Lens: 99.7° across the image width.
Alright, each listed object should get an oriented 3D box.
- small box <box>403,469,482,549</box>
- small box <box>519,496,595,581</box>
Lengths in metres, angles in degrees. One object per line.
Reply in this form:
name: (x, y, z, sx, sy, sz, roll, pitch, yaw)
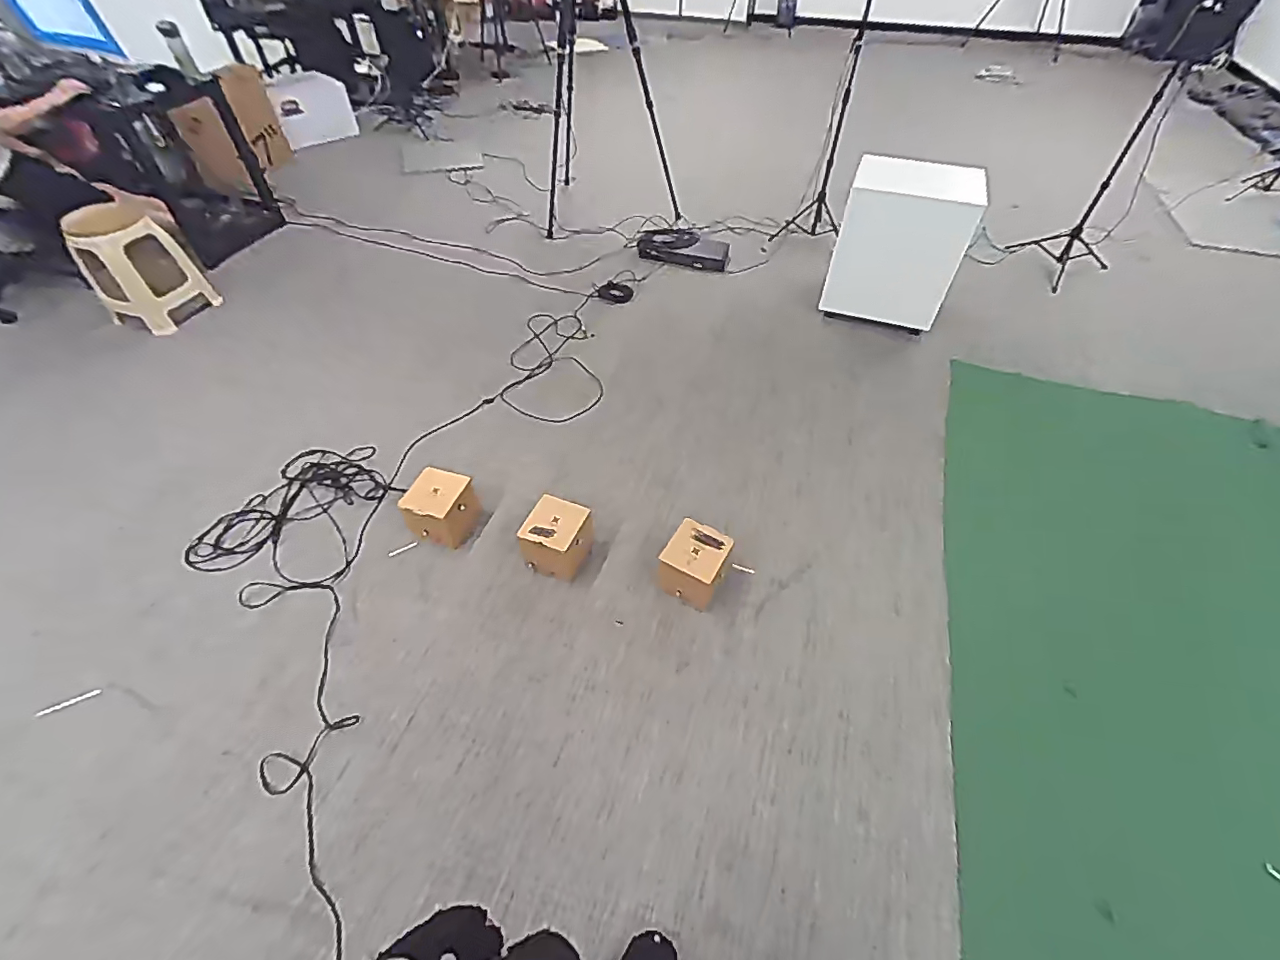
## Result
small box: (-0.633, 0.095, 1.766, 0.168, 0.176, 0.179, 13, 51, 12)
small box: (-0.249, 0.185, 1.684, 0.168, 0.176, 0.179, 17, 51, 15)
